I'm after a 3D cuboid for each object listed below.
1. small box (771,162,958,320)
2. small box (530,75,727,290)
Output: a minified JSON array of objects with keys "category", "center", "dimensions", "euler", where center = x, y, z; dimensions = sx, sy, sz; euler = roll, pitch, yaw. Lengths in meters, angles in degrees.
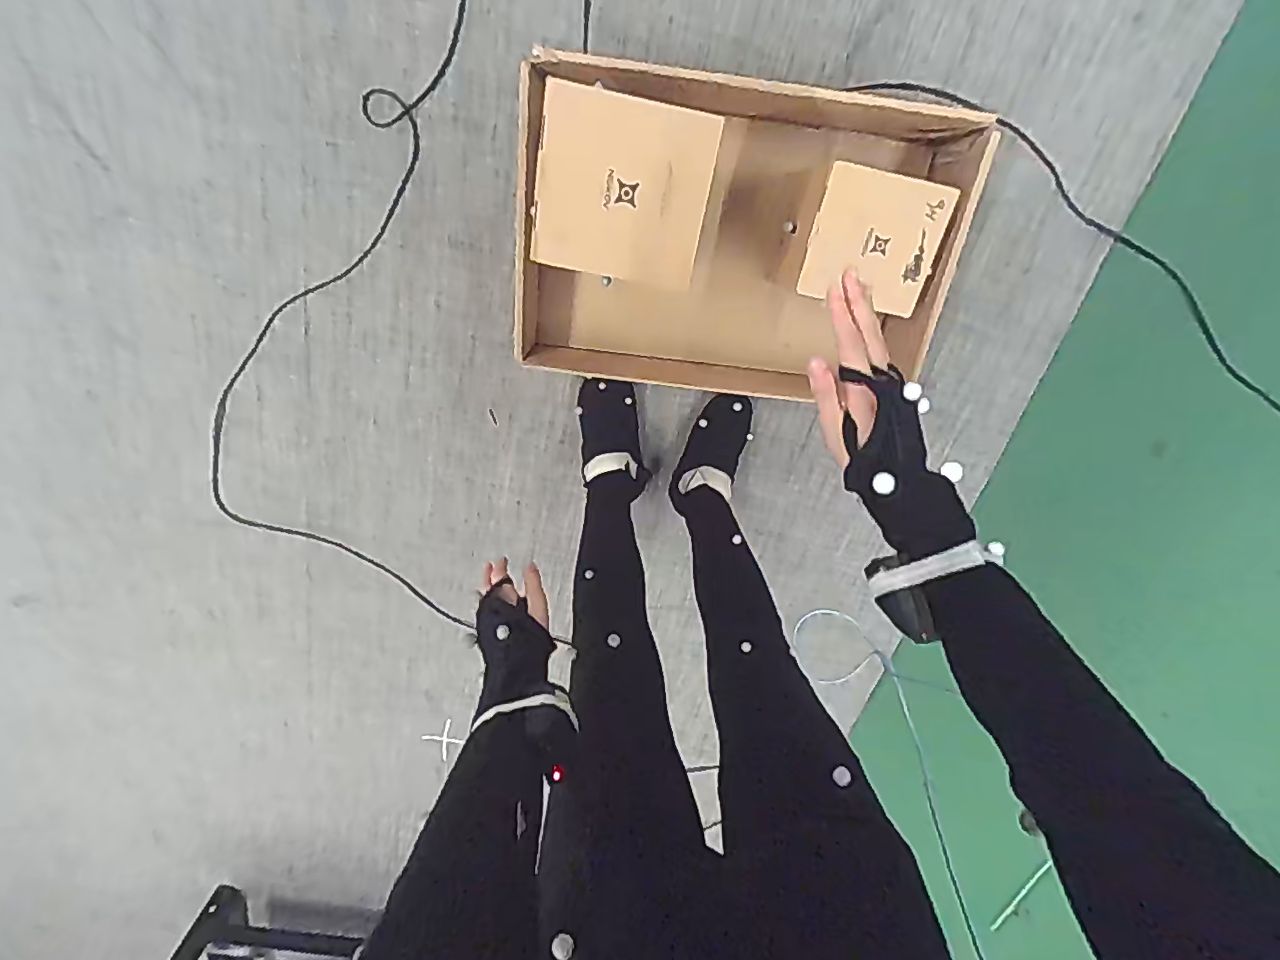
[{"category":"small box","center":[0.310,-0.345,0.795],"dimensions":[0.179,0.176,0.168],"euler":[11,114,-5]},{"category":"small box","center":[-0.017,-0.327,0.620],"dimensions":[0.179,0.176,0.168],"euler":[10,115,-7]}]
